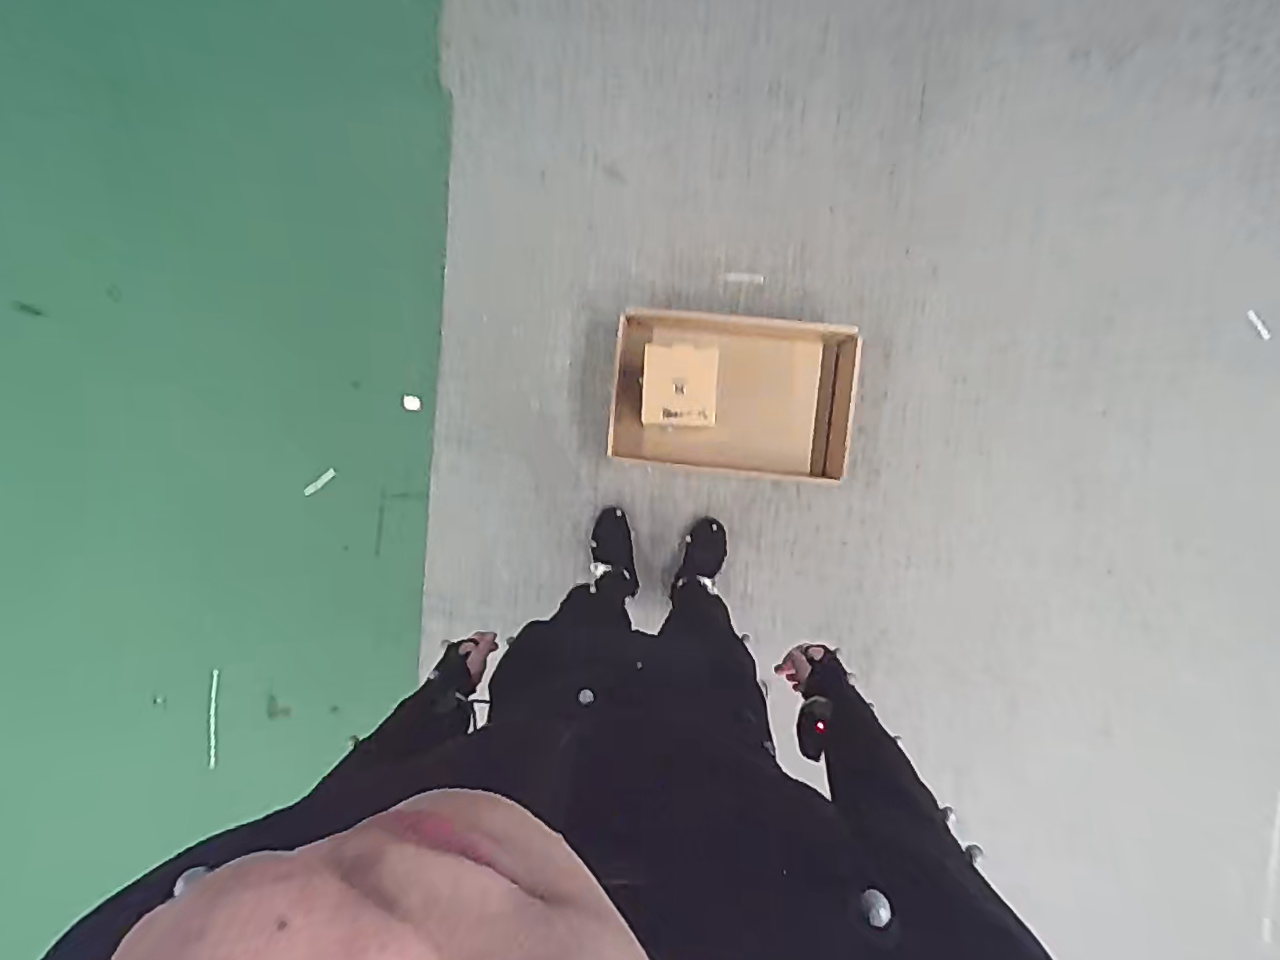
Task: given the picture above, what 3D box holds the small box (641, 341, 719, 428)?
[{"bbox_3d":[0.090,-0.220,1.279,0.168,0.176,0.179,3,93,3],"label":"small box"}]
